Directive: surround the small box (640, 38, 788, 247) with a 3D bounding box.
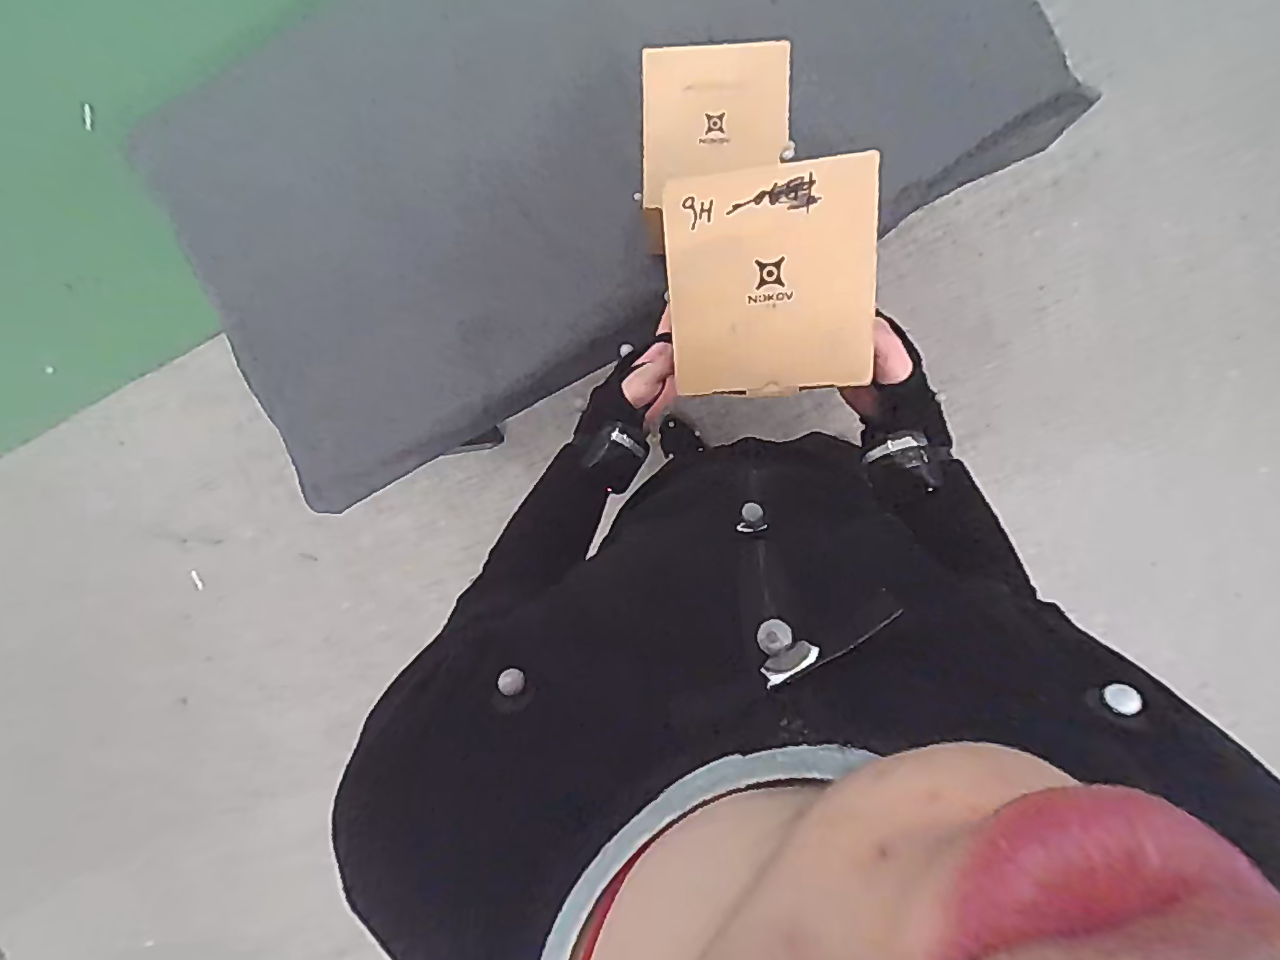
[{"bbox_3d":[0.087,-0.407,0.687,0.168,0.176,0.179,-1,95,3],"label":"small box"}]

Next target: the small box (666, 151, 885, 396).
[{"bbox_3d":[0.118,-0.185,0.511,0.168,0.176,0.179,-3,108,9],"label":"small box"}]
